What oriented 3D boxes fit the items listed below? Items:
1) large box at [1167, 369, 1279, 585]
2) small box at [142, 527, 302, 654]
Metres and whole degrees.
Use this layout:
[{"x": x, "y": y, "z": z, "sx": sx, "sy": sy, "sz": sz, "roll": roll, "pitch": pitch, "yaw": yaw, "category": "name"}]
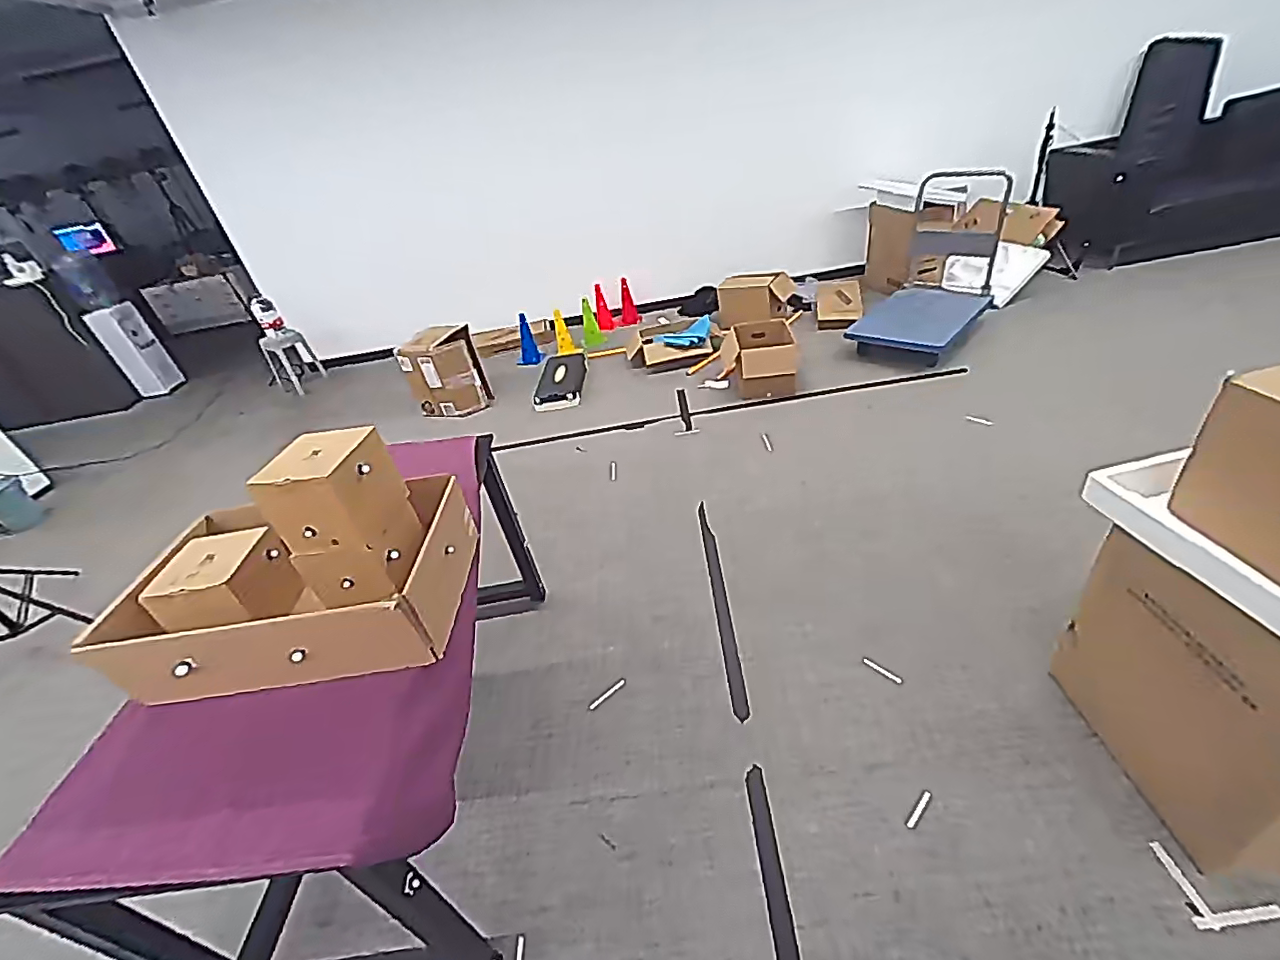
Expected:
[{"x": 1.259, "y": 0.022, "z": 0.904, "sx": 0.320, "sy": 0.320, "sz": 0.408, "roll": -11, "pitch": 33, "yaw": -1, "category": "large box"}, {"x": -0.827, "y": 0.223, "z": 1.098, "sx": 0.168, "sy": 0.176, "sz": 0.179, "roll": -10, "pitch": 34, "yaw": 0, "category": "small box"}]
